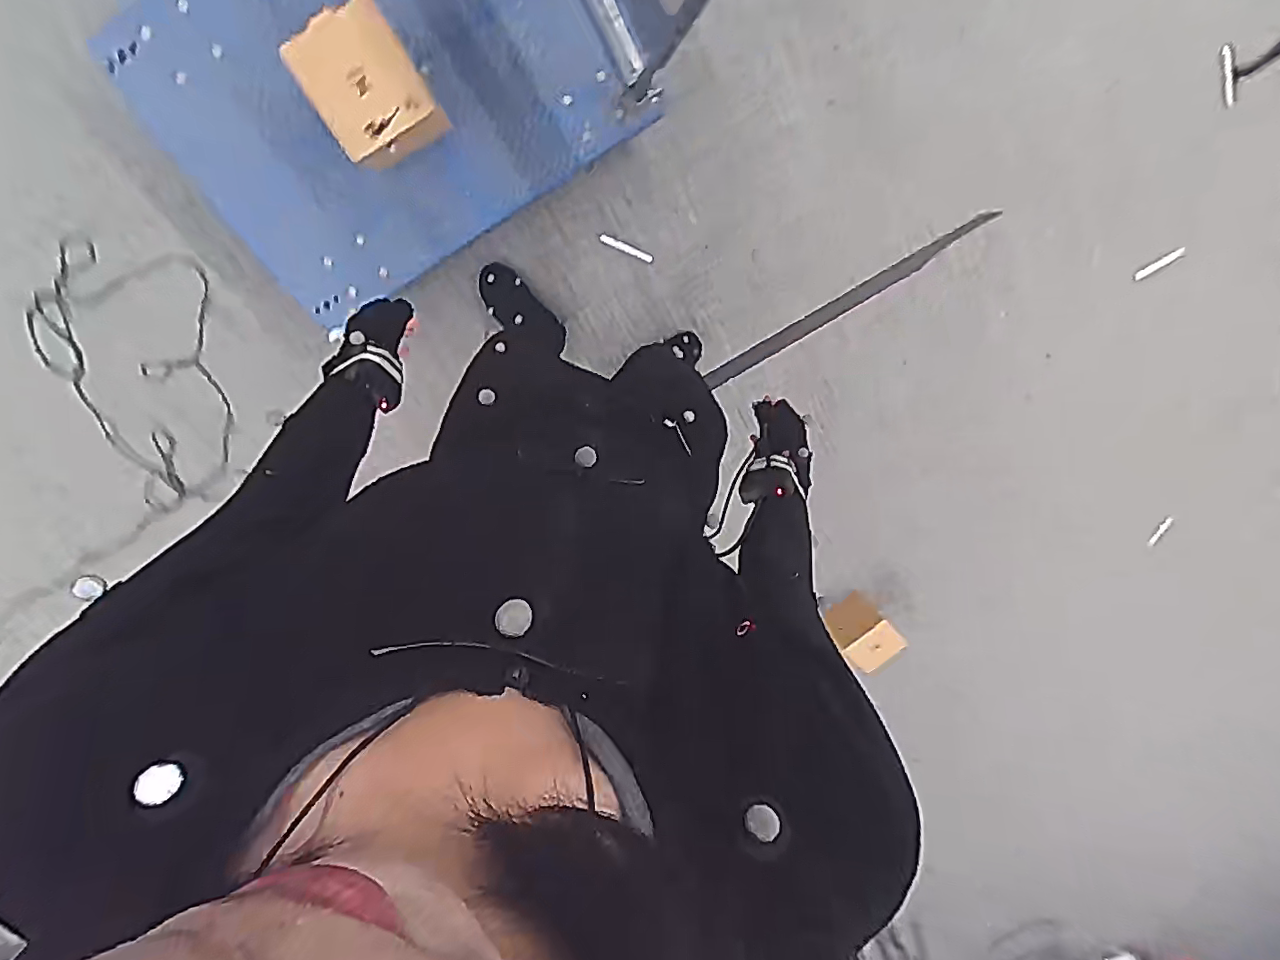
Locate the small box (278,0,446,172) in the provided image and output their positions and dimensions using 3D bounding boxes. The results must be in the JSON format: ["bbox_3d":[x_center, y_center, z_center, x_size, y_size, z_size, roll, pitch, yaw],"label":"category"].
[{"bbox_3d":[-0.468,-0.671,0.943,0.168,0.176,0.179,-29,114,5],"label":"small box"}]

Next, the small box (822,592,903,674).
[{"bbox_3d":[0.762,0.530,1.882,0.179,0.176,0.168,-44,114,9],"label":"small box"}]
